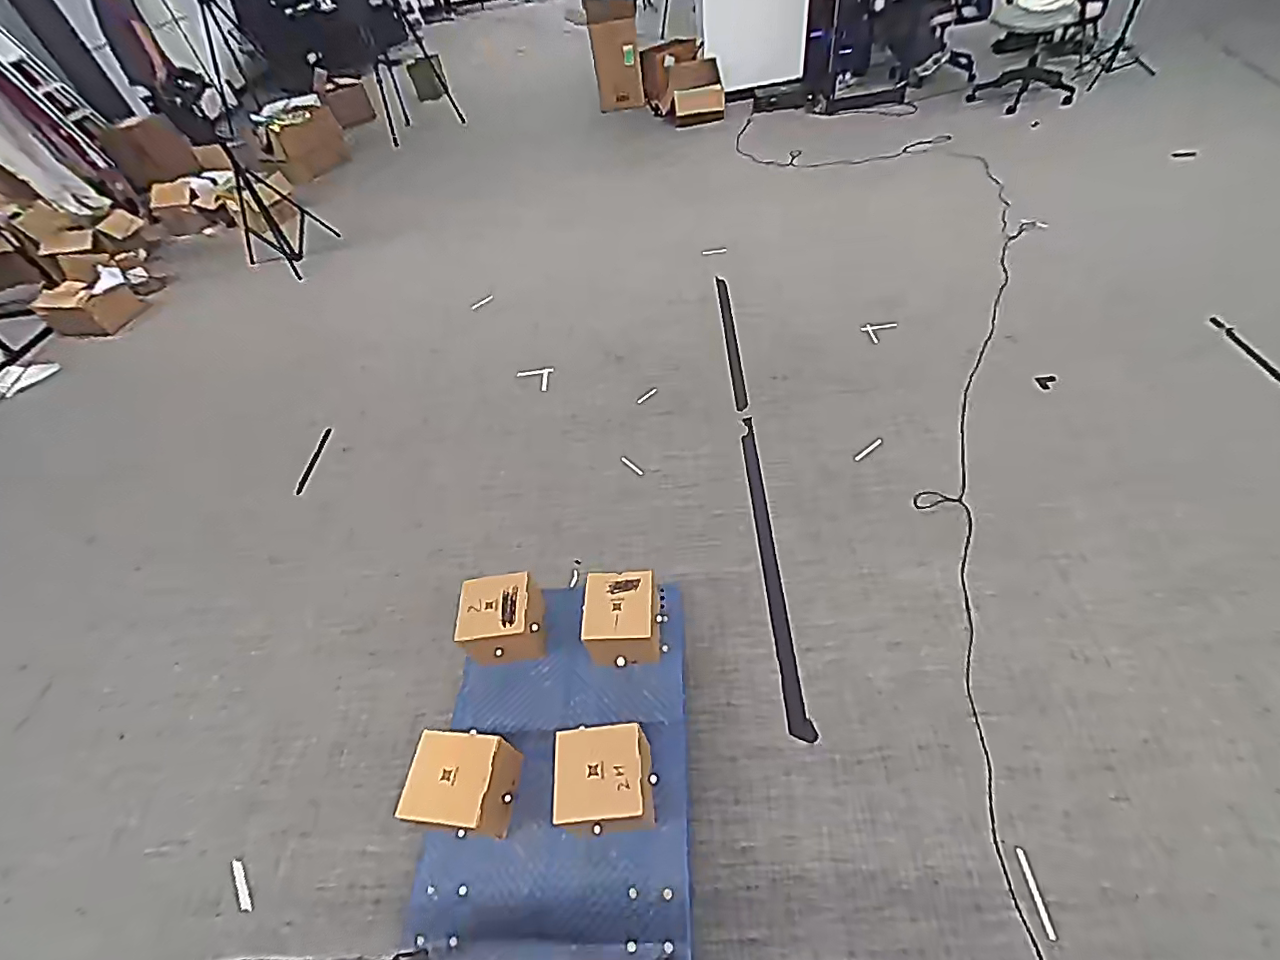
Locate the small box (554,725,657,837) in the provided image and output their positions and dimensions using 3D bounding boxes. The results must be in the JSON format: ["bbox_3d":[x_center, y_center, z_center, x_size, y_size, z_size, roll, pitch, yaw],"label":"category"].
[{"bbox_3d":[-0.067,0.626,1.118,0.179,0.176,0.168,-8,49,4],"label":"small box"}]

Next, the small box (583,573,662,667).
[{"bbox_3d":[-0.037,0.349,1.346,0.168,0.176,0.179,-4,51,8],"label":"small box"}]

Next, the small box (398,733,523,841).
[{"bbox_3d":[-0.371,0.656,1.153,0.179,0.176,0.168,0,50,9],"label":"small box"}]
